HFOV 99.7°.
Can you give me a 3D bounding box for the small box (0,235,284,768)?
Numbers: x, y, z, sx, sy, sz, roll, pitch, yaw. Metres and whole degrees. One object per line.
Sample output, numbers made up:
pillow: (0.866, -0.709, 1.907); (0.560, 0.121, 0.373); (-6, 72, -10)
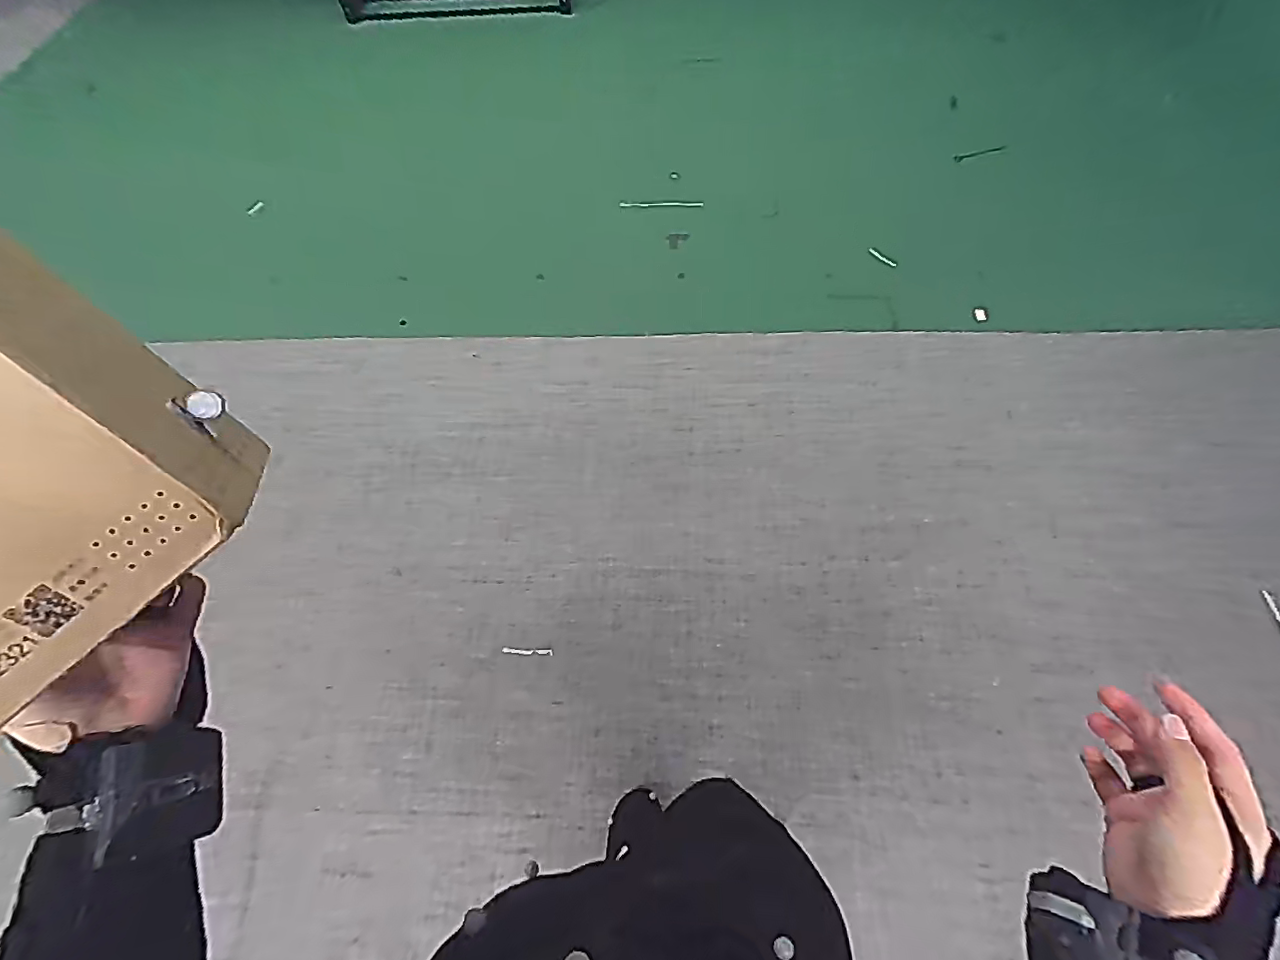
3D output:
small box: (-0.288, 0.007, 0.229); (0.168, 0.176, 0.179); (-47, 31, -13)
